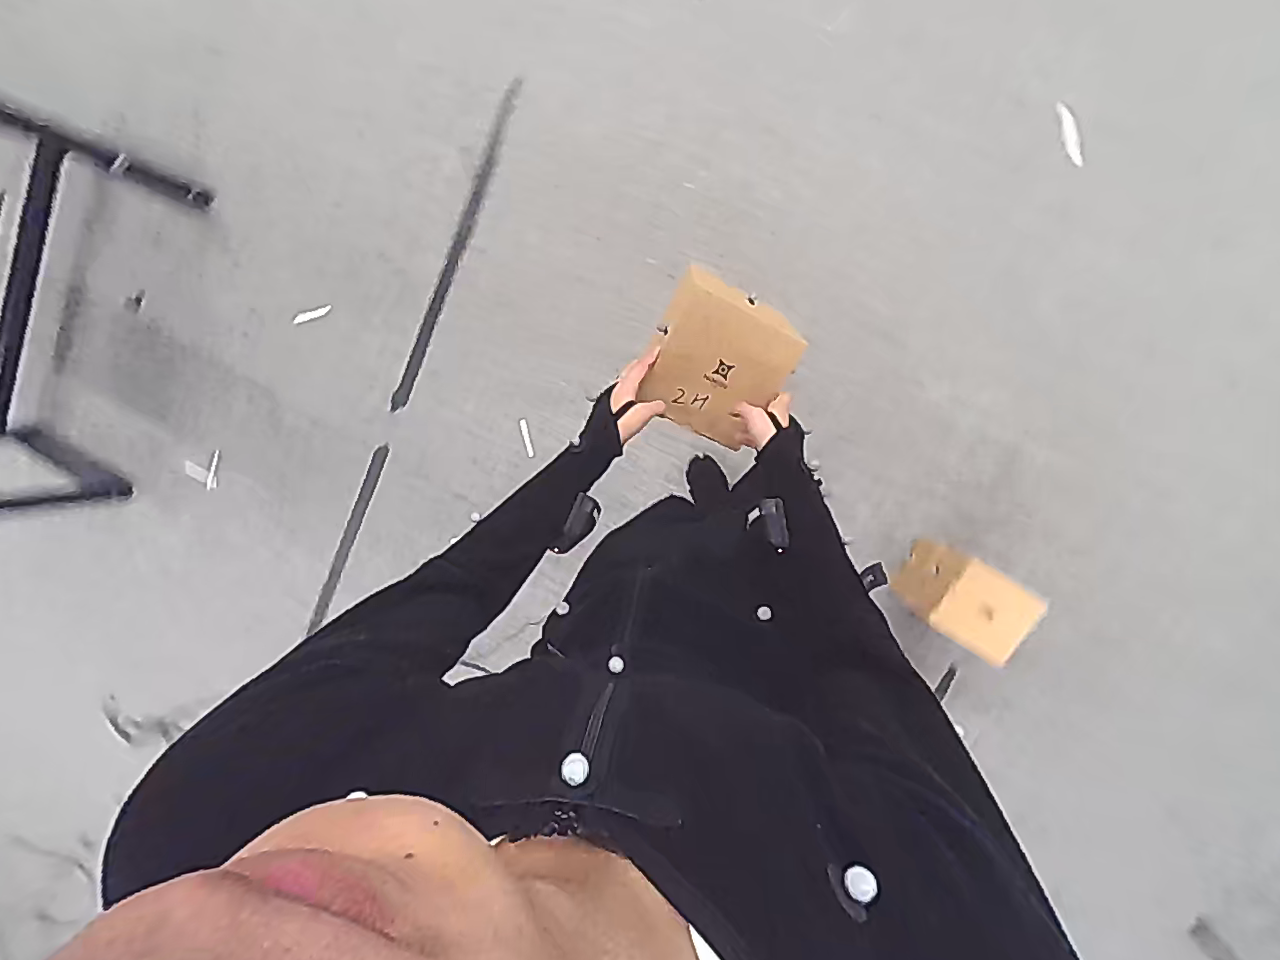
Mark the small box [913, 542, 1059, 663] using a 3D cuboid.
[{"bbox_3d":[0.734,0.254,1.171,0.179,0.176,0.168,33,101,7],"label":"small box"}]

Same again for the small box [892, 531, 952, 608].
[{"bbox_3d":[0.759,0.243,1.331,0.179,0.176,0.168,30,101,7],"label":"small box"}]
